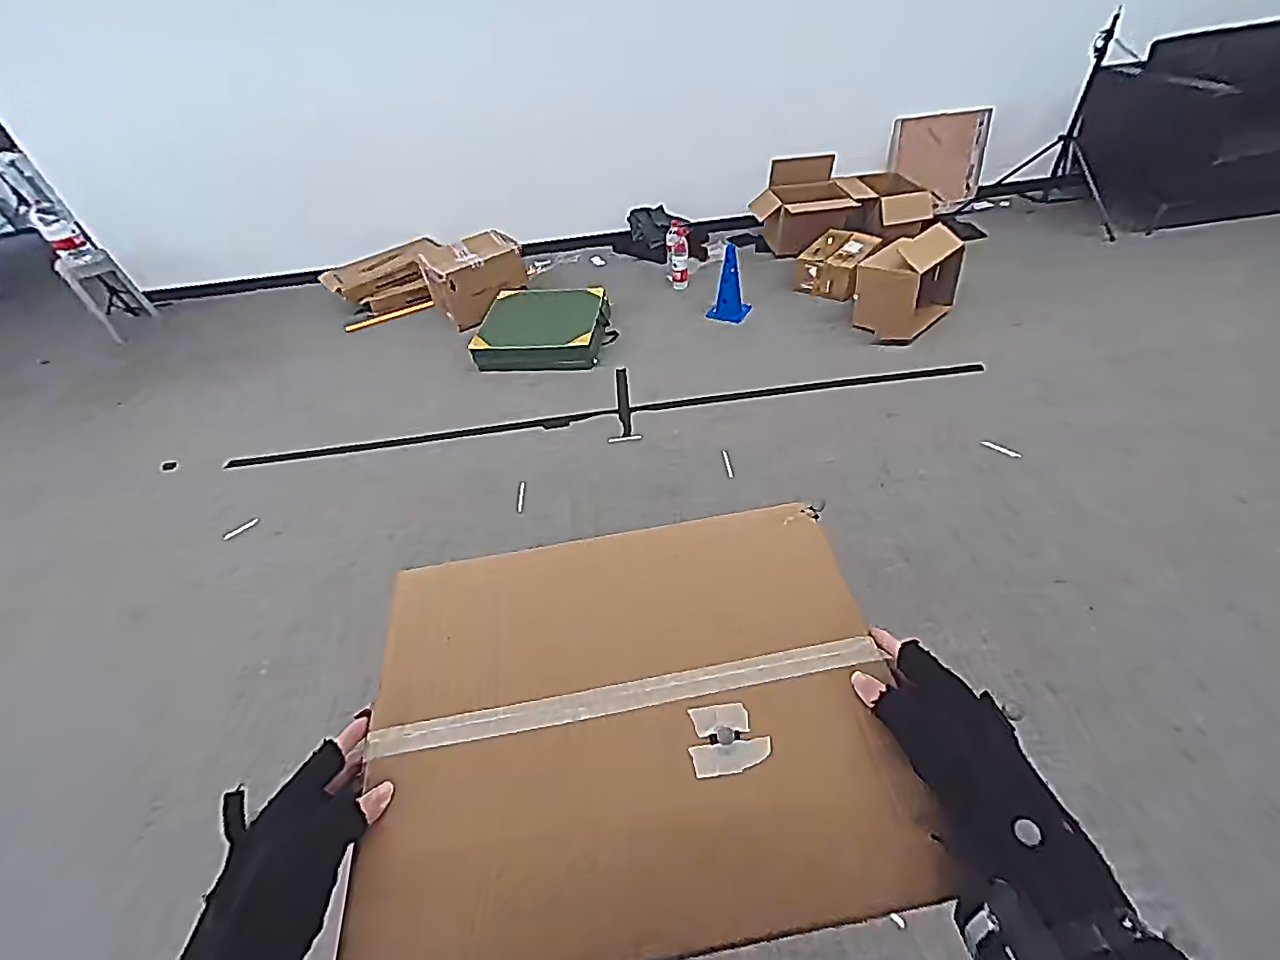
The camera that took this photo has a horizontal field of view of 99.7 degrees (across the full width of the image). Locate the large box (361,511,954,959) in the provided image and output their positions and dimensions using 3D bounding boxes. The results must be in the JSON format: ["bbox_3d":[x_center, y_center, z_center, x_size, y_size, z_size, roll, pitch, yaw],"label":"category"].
[{"bbox_3d":[0.003,0.275,0.556,0.408,0.320,0.320,-10,50,-2],"label":"large box"}]
